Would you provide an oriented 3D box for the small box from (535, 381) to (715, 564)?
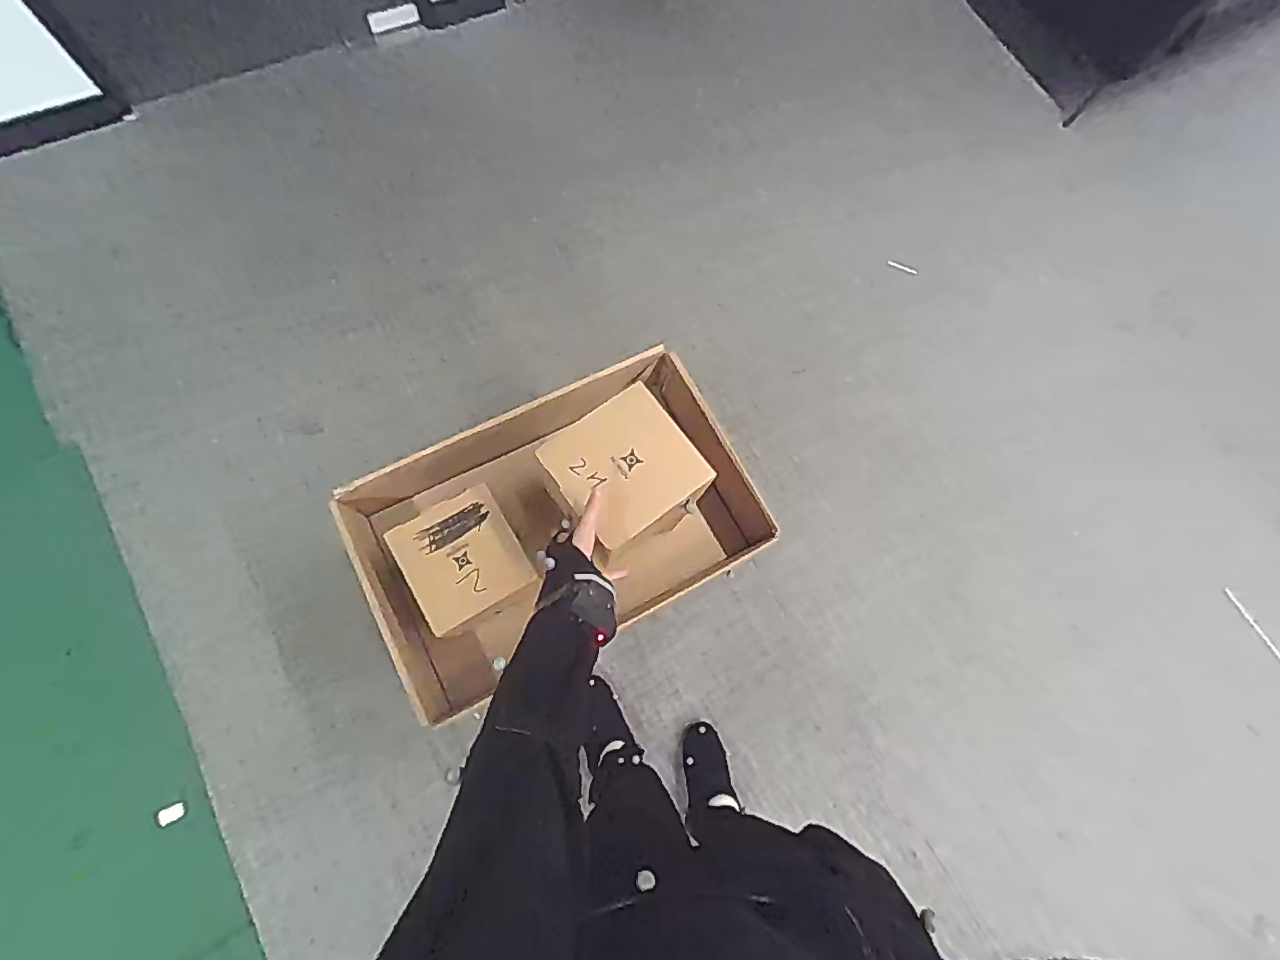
[{"bbox_3d":[-0.026,-0.002,0.760,0.179,0.176,0.168,-35,80,-13],"label":"small box"}]
